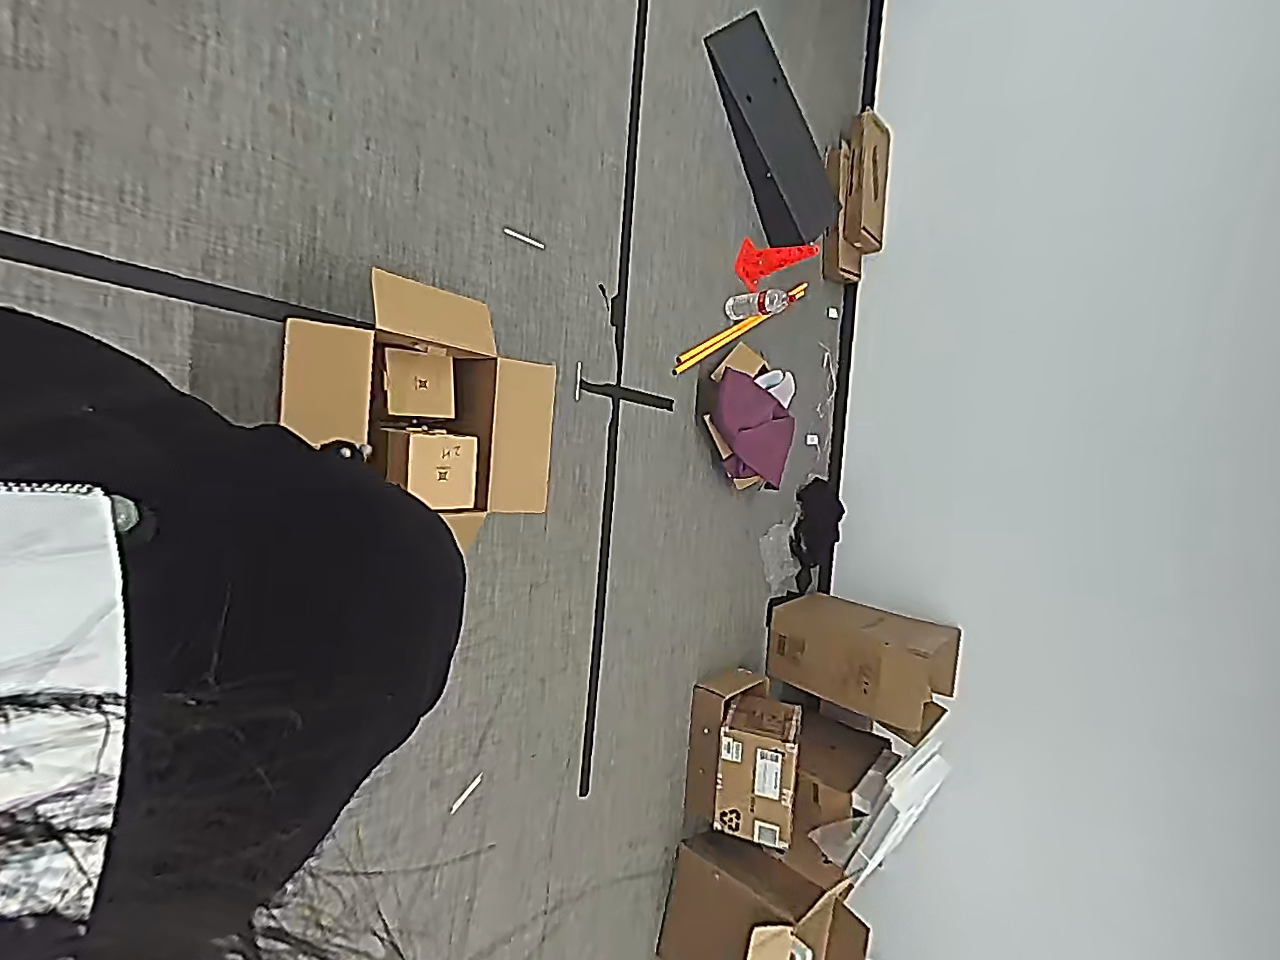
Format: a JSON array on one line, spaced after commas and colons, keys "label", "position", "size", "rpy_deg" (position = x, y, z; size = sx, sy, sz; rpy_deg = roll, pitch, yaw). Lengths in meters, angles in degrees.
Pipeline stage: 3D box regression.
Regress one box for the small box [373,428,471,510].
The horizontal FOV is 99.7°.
[{"label": "small box", "position": [-0.526, -0.029, 1.298], "size": [0.168, 0.176, 0.179], "rpy_deg": [-1, 96, -47]}]
